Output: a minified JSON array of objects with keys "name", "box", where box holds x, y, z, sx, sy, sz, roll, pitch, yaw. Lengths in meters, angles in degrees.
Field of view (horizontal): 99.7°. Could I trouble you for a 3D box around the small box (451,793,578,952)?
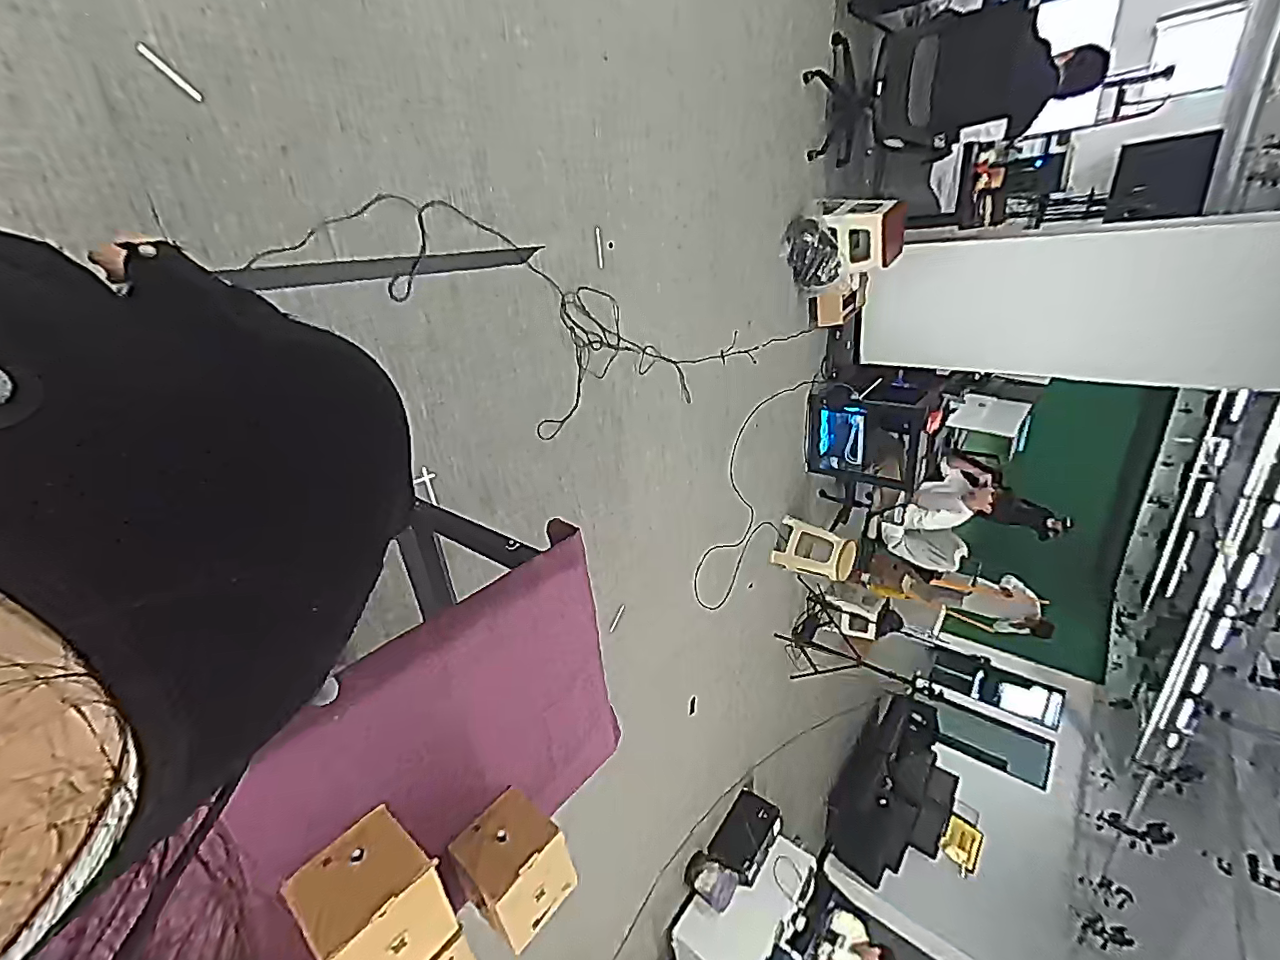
[{"name":"small box","box":[-0.255,0.778,1.096,0.168,0.176,0.179,-31,122,-42]}]
